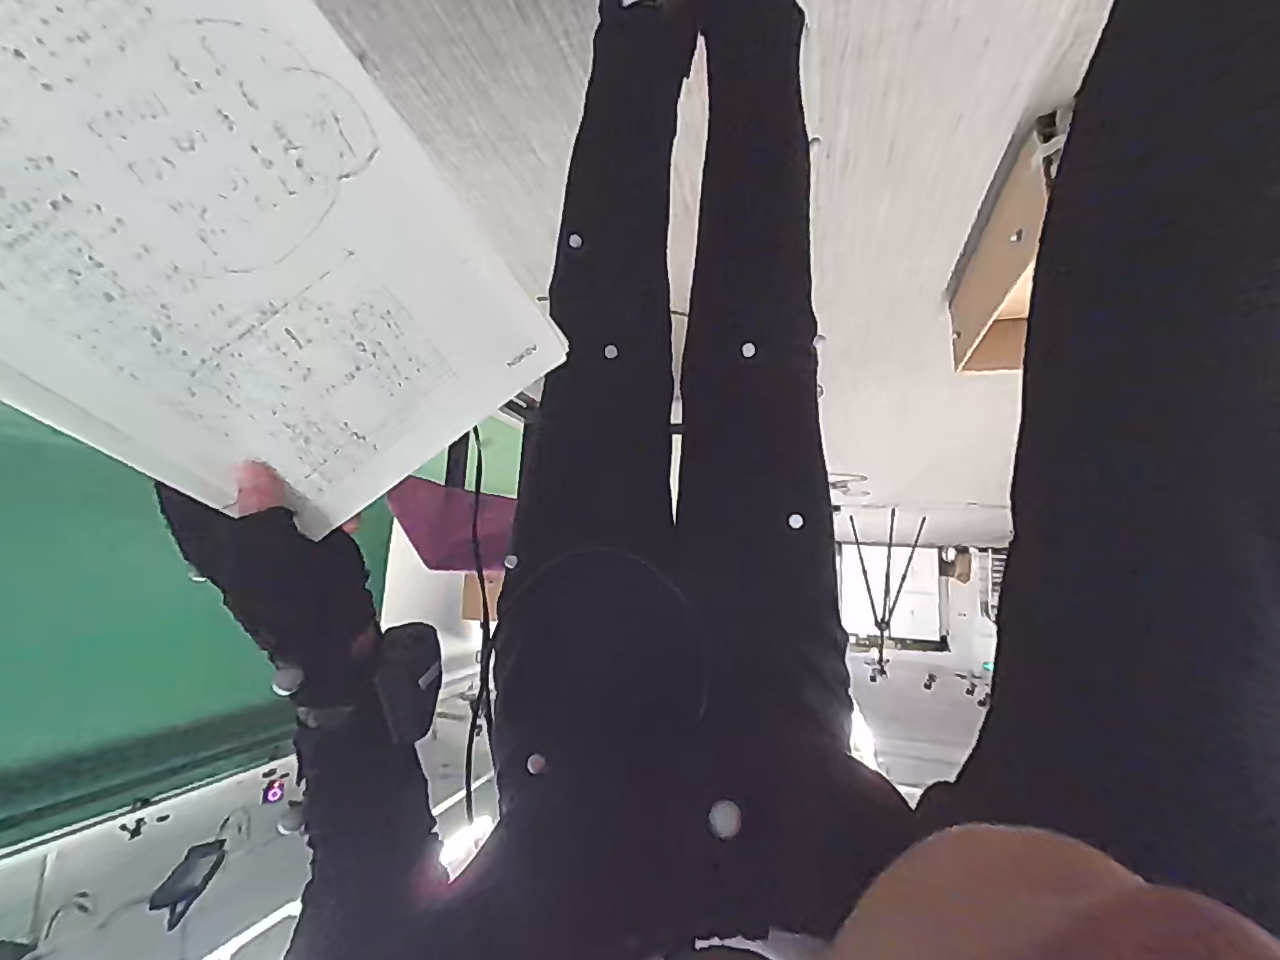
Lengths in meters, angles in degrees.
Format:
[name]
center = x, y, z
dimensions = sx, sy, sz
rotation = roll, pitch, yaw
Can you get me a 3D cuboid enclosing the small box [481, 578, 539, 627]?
[small box]
center = -0.495, 0.468, 2.092
dimensions = 0.168, 0.176, 0.179
rotation = 1, 171, 8
